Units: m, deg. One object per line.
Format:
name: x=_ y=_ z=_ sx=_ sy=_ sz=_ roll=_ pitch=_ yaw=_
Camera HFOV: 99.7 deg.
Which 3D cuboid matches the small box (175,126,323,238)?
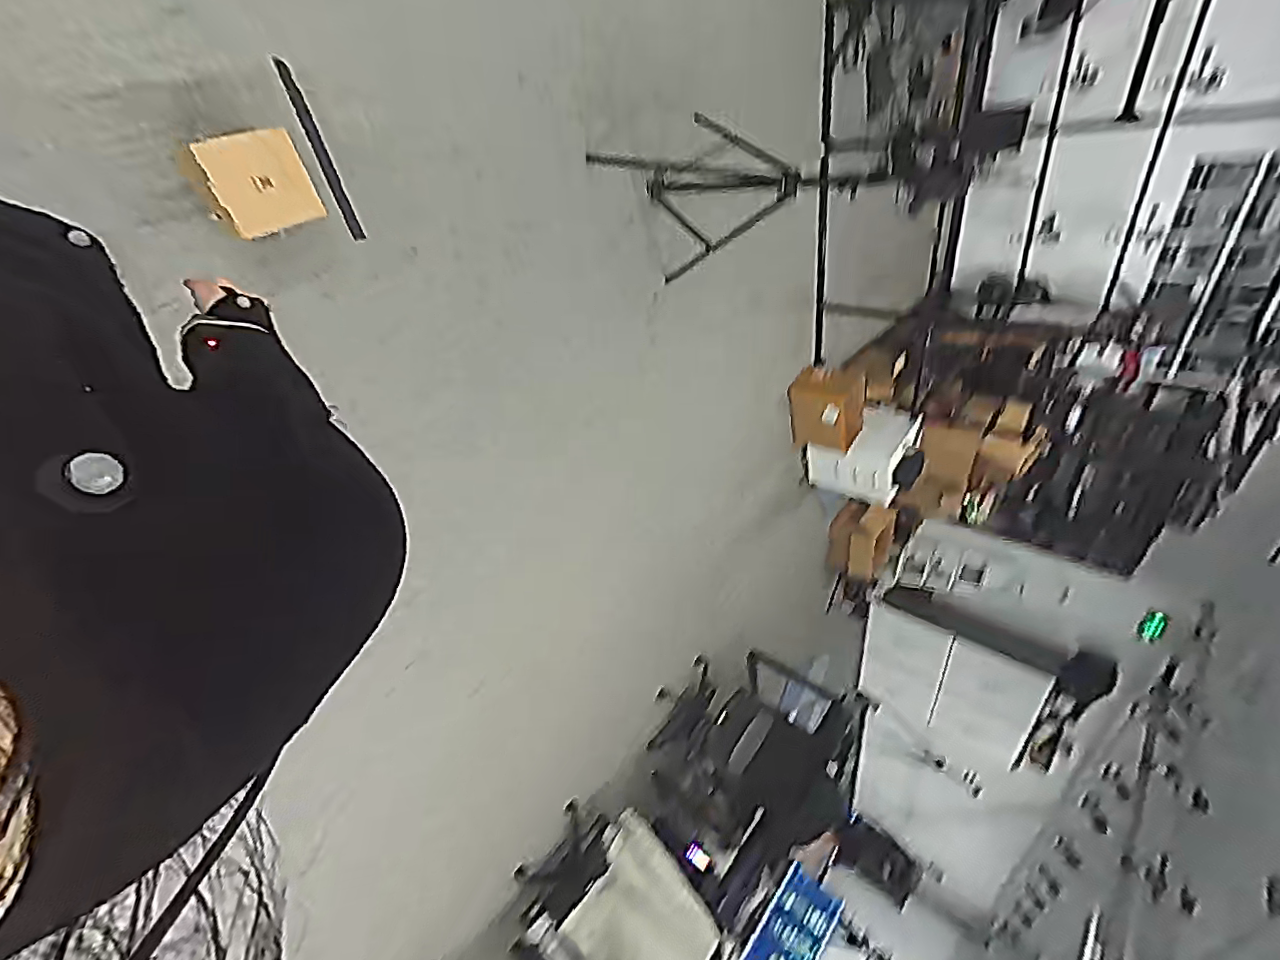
small box: x=-0.804 y=-0.608 z=1.108 sx=0.179 sy=0.176 sz=0.168 roll=-41 pitch=136 yaw=-32
